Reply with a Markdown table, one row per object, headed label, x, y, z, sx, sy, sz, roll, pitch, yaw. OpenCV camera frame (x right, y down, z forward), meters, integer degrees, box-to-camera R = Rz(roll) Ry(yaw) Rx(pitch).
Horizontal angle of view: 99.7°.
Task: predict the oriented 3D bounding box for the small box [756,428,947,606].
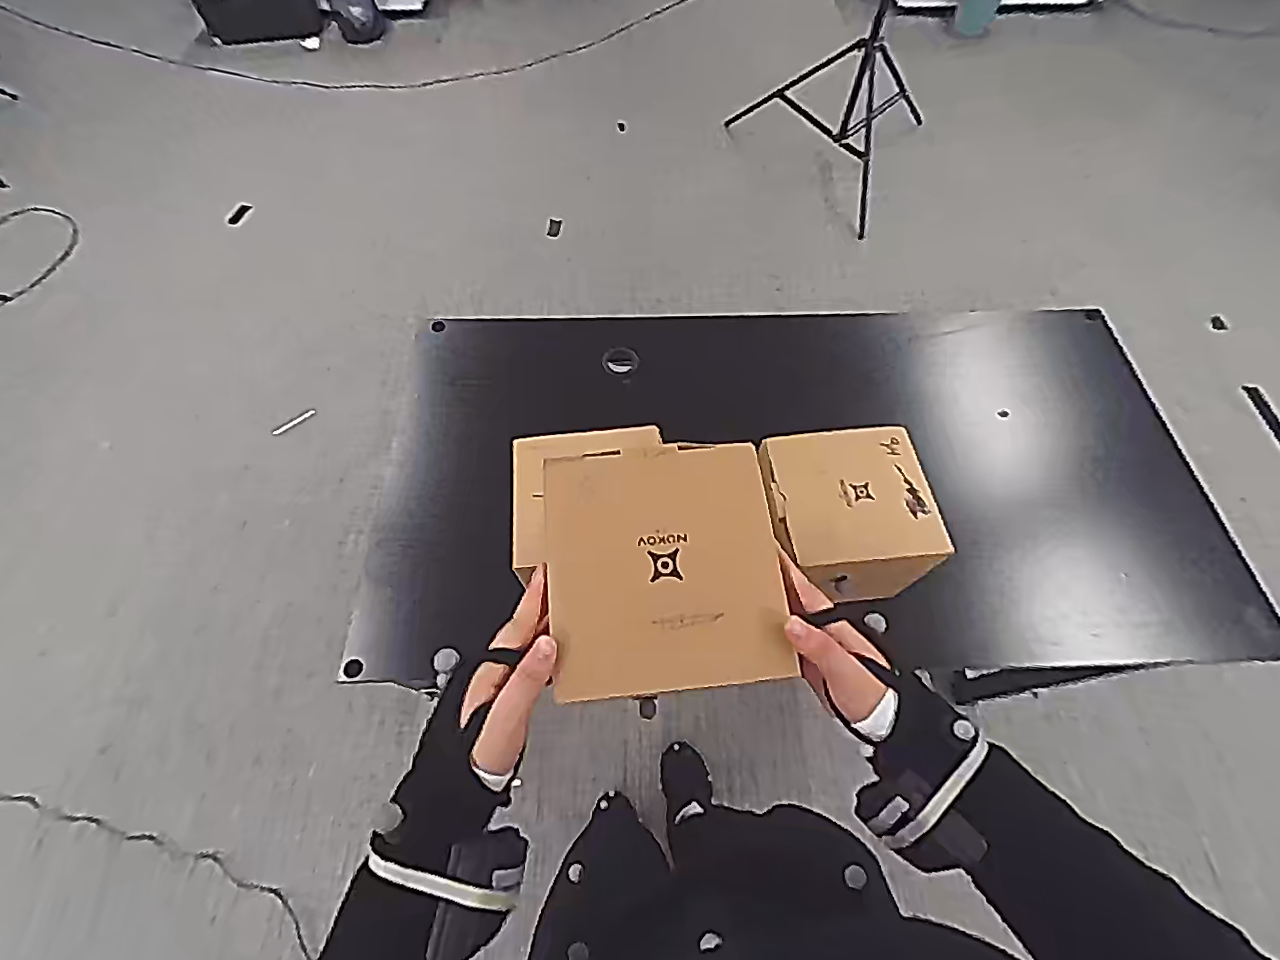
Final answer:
| label | x | y | z | sx | sy | sz | roll | pitch | yaw |
| --- | --- | --- | --- | --- | --- | --- | --- | --- | --- |
| small box | 0.241 | 0.054 | 0.686 | 0.179 | 0.176 | 0.168 | -6 | 61 | -2 |

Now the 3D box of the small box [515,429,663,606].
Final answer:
| label | x | y | z | sx | sy | sz | roll | pitch | yaw |
| --- | --- | --- | --- | --- | --- | --- | --- | --- | --- |
| small box | -0.054 | 0.054 | 0.686 | 0.179 | 0.176 | 0.168 | -5 | 62 | -2 |

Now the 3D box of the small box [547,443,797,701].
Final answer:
| label | x | y | z | sx | sy | sz | roll | pitch | yaw |
| --- | --- | --- | --- | --- | --- | --- | --- | --- | --- |
| small box | 0.012 | 0.086 | 0.461 | 0.168 | 0.176 | 0.179 | -5 | 68 | -5 |
